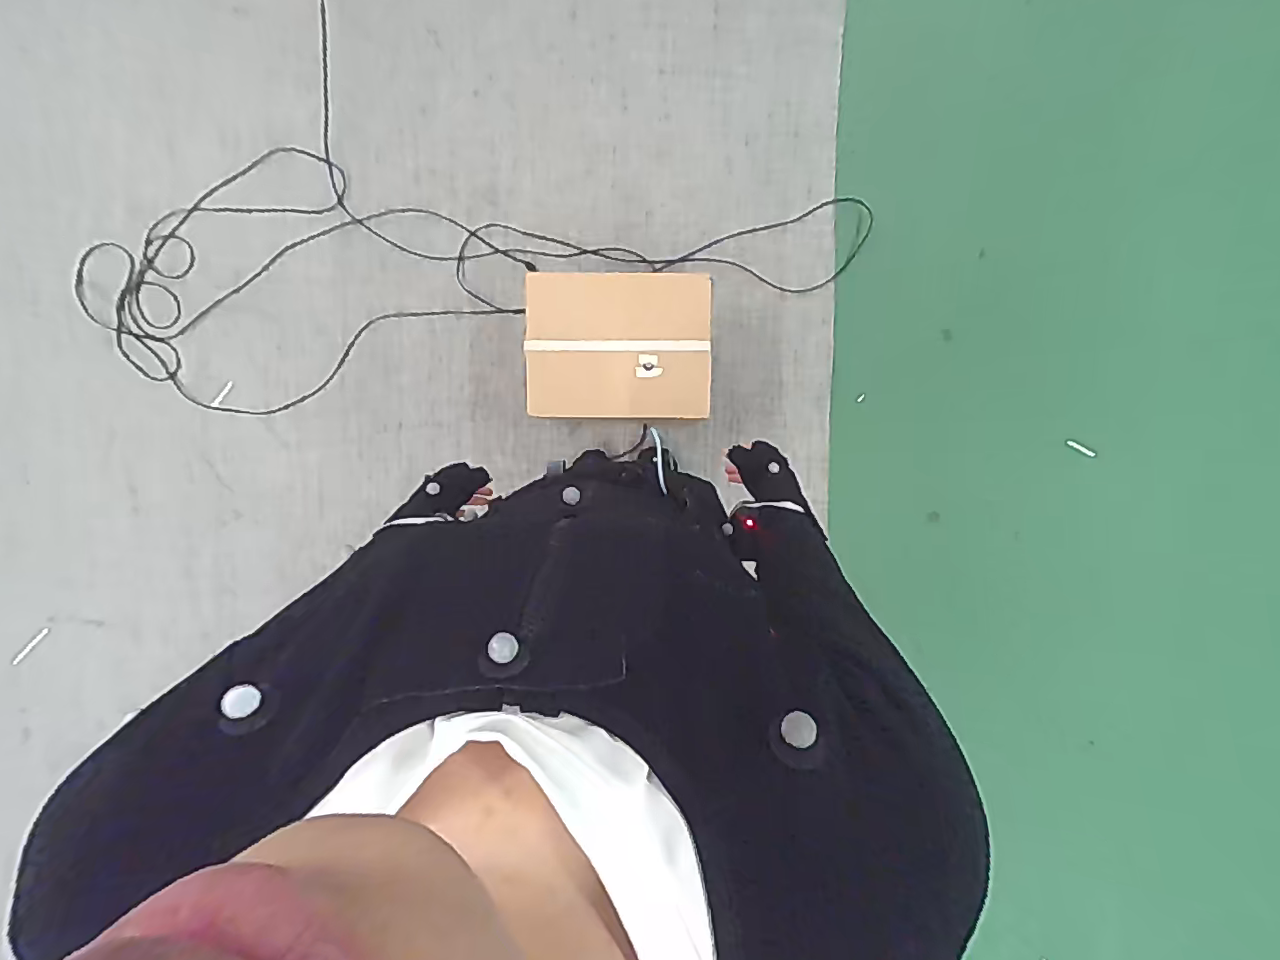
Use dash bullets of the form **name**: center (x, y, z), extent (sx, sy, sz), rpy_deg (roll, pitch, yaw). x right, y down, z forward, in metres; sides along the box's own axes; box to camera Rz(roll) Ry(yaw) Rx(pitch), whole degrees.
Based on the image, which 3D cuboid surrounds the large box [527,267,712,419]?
- **large box**: center (-0.046, -0.314, 1.321), extent (0.408, 0.320, 0.320), rpy_deg (1, 94, 0)
